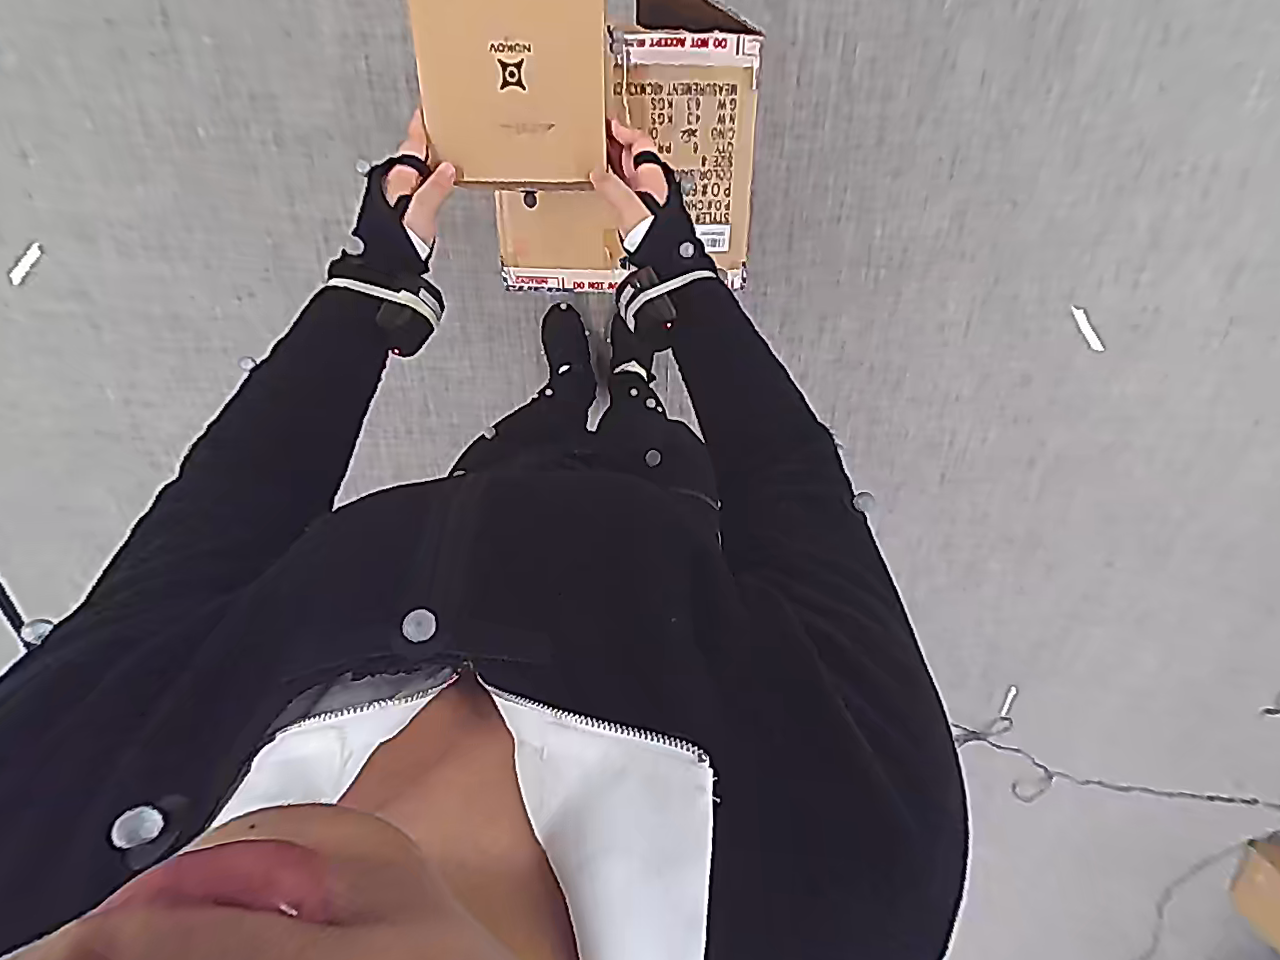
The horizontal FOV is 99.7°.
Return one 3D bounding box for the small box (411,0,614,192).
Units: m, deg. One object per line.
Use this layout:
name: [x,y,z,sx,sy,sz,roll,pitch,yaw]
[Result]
small box: [-0.112,-0.393,0.545,0.168,0.176,0.179,0,117,0]
